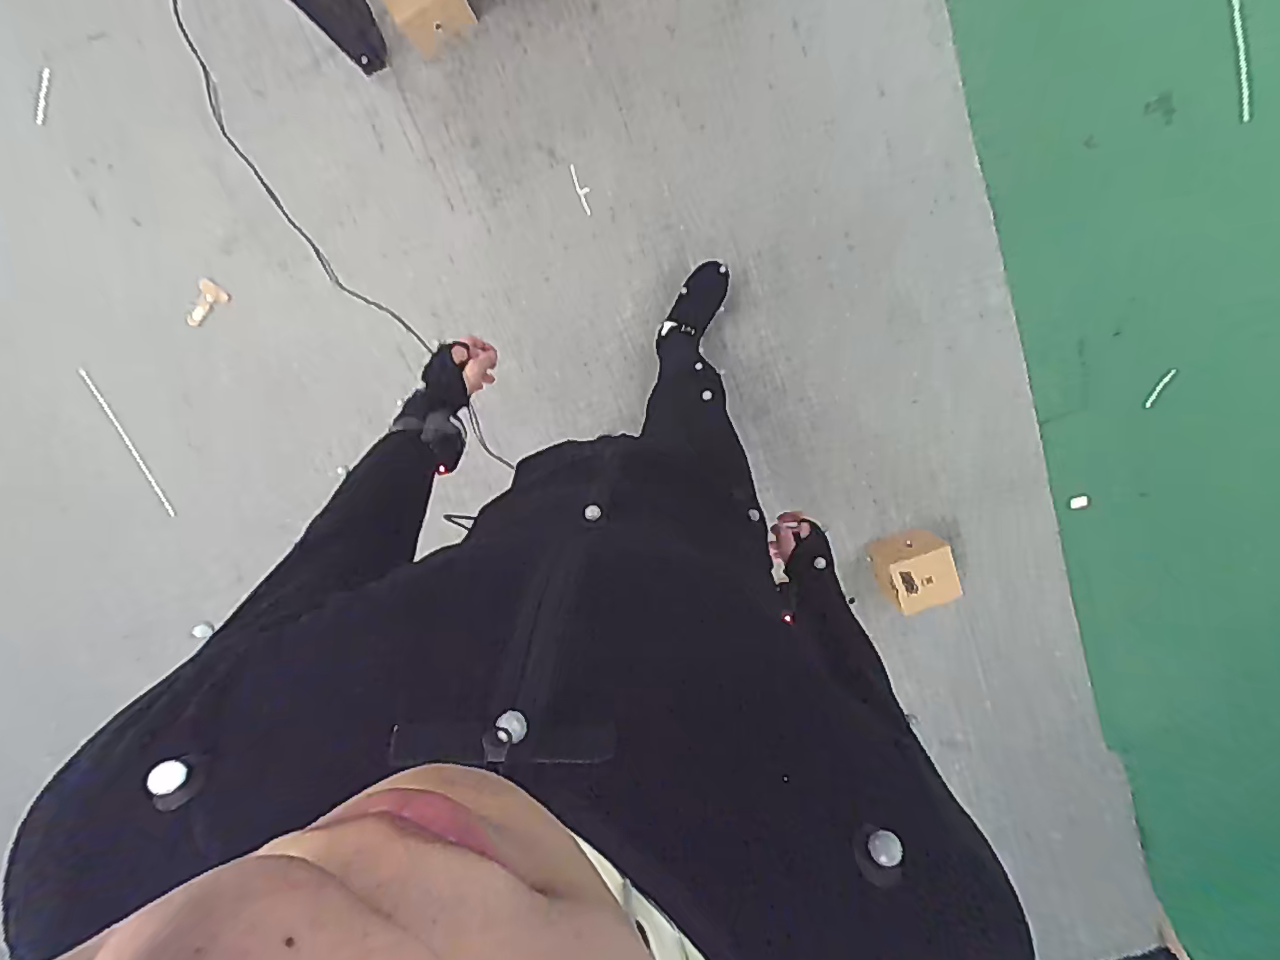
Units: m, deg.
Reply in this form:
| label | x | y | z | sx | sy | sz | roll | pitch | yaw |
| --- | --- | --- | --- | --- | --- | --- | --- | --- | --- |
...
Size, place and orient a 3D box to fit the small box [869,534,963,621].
| label | x | y | z | sx | sy | sz | roll | pitch | yaw |
| --- | --- | --- | --- | --- | --- | --- | --- | --- | --- |
| small box | 0.789 | 0.277 | 1.568 | 0.179 | 0.176 | 0.168 | -21 | 103 | 4 |

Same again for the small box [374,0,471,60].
| label | x | y | z | sx | sy | sz | roll | pitch | yaw |
| --- | --- | --- | --- | --- | --- | --- | --- | --- | --- |
| small box | -0.522 | -1.129 | 1.255 | 0.168 | 0.176 | 0.179 | -30 | 101 | 7 |
